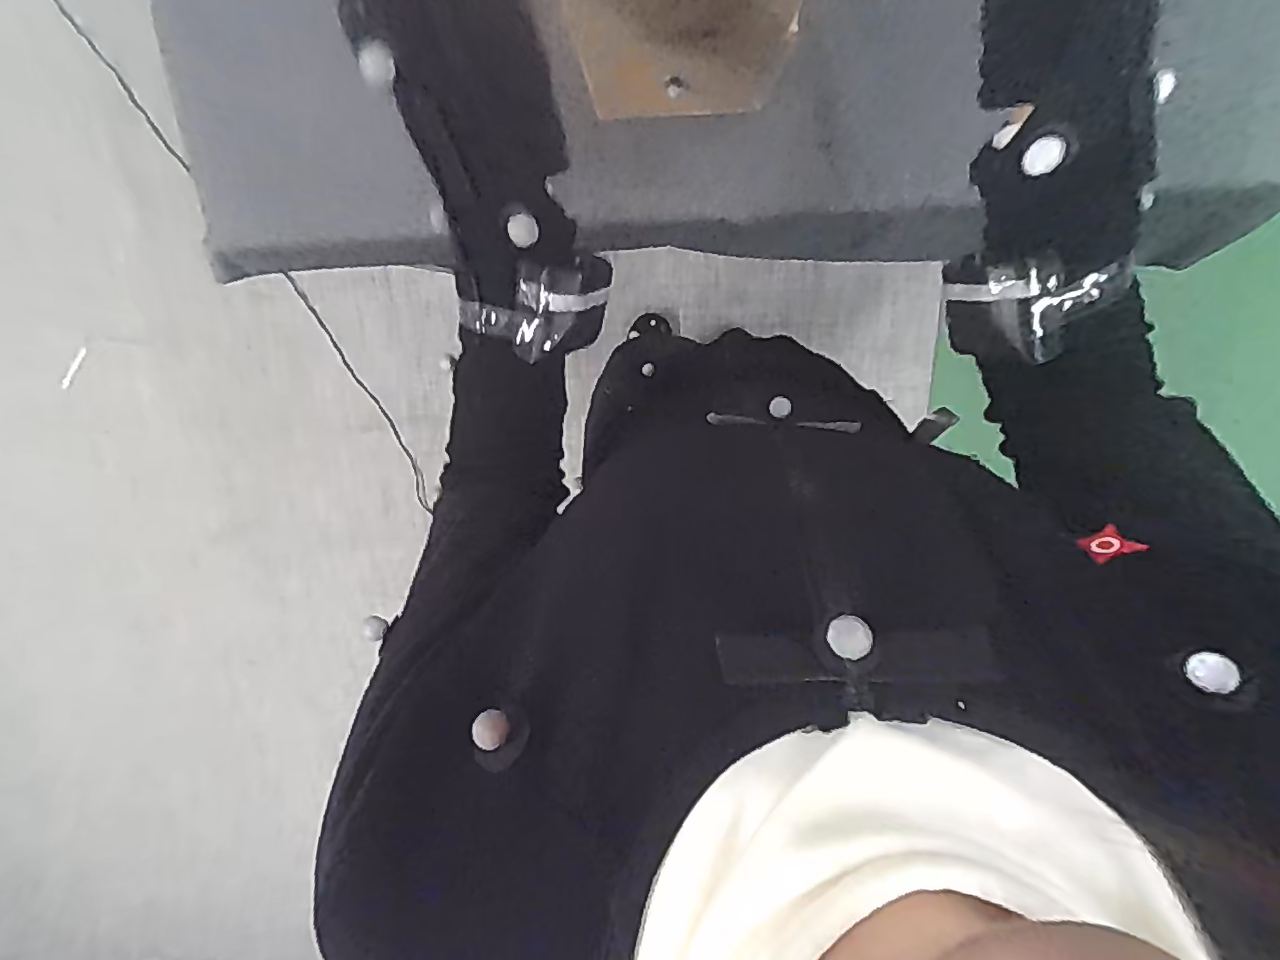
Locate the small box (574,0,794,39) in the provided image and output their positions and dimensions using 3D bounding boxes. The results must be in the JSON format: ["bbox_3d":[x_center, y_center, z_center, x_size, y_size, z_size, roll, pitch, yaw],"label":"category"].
[{"bbox_3d":[0.028,-0.407,0.331,0.168,0.176,0.179,-2,106,4],"label":"small box"}]

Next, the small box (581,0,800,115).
[{"bbox_3d":[0.041,-0.454,0.487,0.179,0.176,0.168,-1,106,4],"label":"small box"}]
